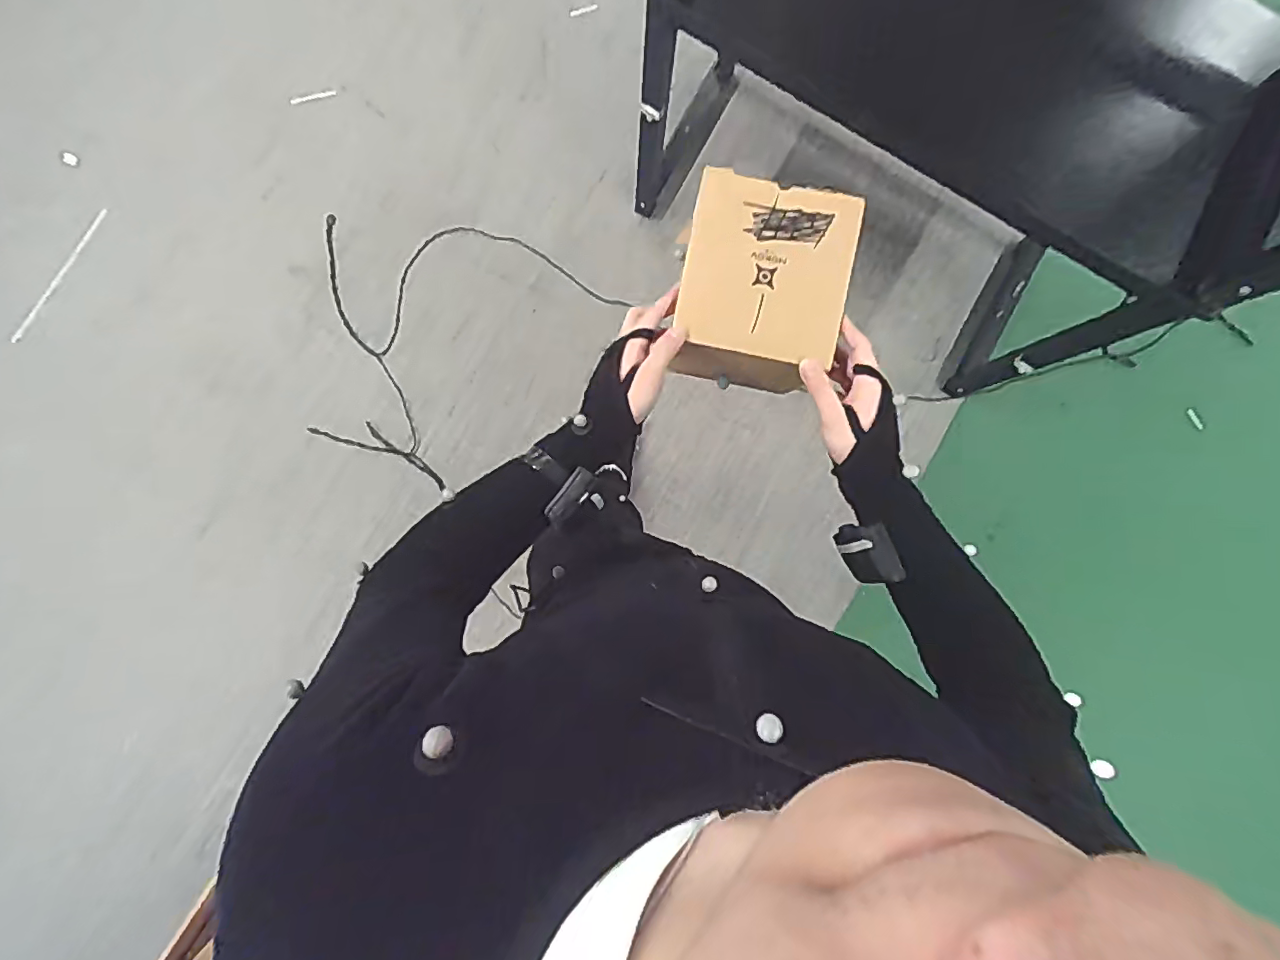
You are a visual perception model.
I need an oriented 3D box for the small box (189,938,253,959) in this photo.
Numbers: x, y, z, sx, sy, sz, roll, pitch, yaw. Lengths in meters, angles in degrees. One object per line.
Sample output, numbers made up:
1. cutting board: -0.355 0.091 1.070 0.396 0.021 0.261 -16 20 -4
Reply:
1. small box: -0.982 1.182 1.187 0.168 0.176 0.179 33 85 -2
